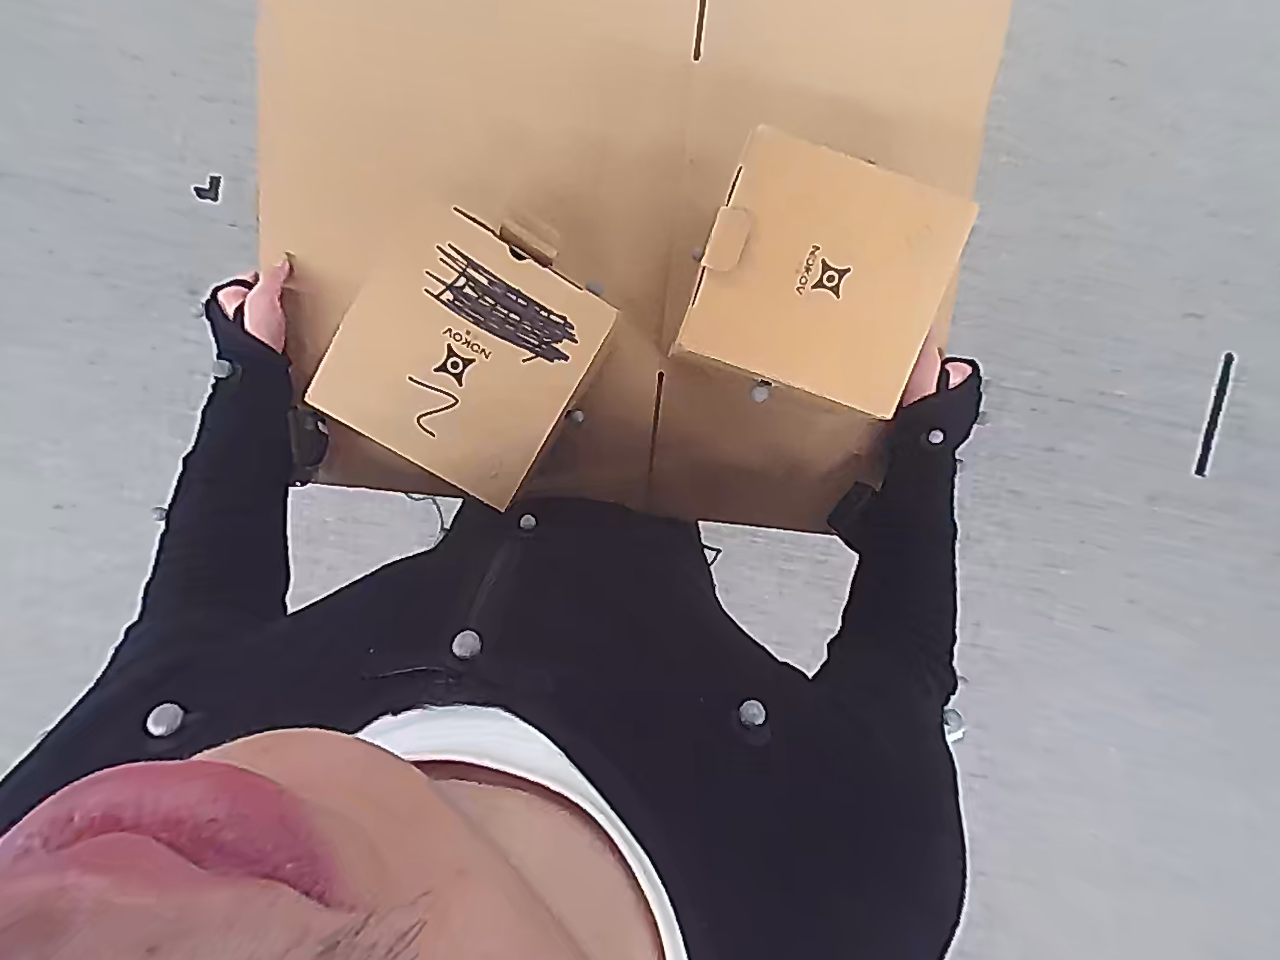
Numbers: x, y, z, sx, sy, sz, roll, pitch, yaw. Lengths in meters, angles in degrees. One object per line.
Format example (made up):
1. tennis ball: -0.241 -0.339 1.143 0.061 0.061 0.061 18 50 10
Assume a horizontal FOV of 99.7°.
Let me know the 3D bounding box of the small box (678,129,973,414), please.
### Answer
1. small box: 0.143 -0.168 0.490 0.179 0.176 0.168 19 99 -1
